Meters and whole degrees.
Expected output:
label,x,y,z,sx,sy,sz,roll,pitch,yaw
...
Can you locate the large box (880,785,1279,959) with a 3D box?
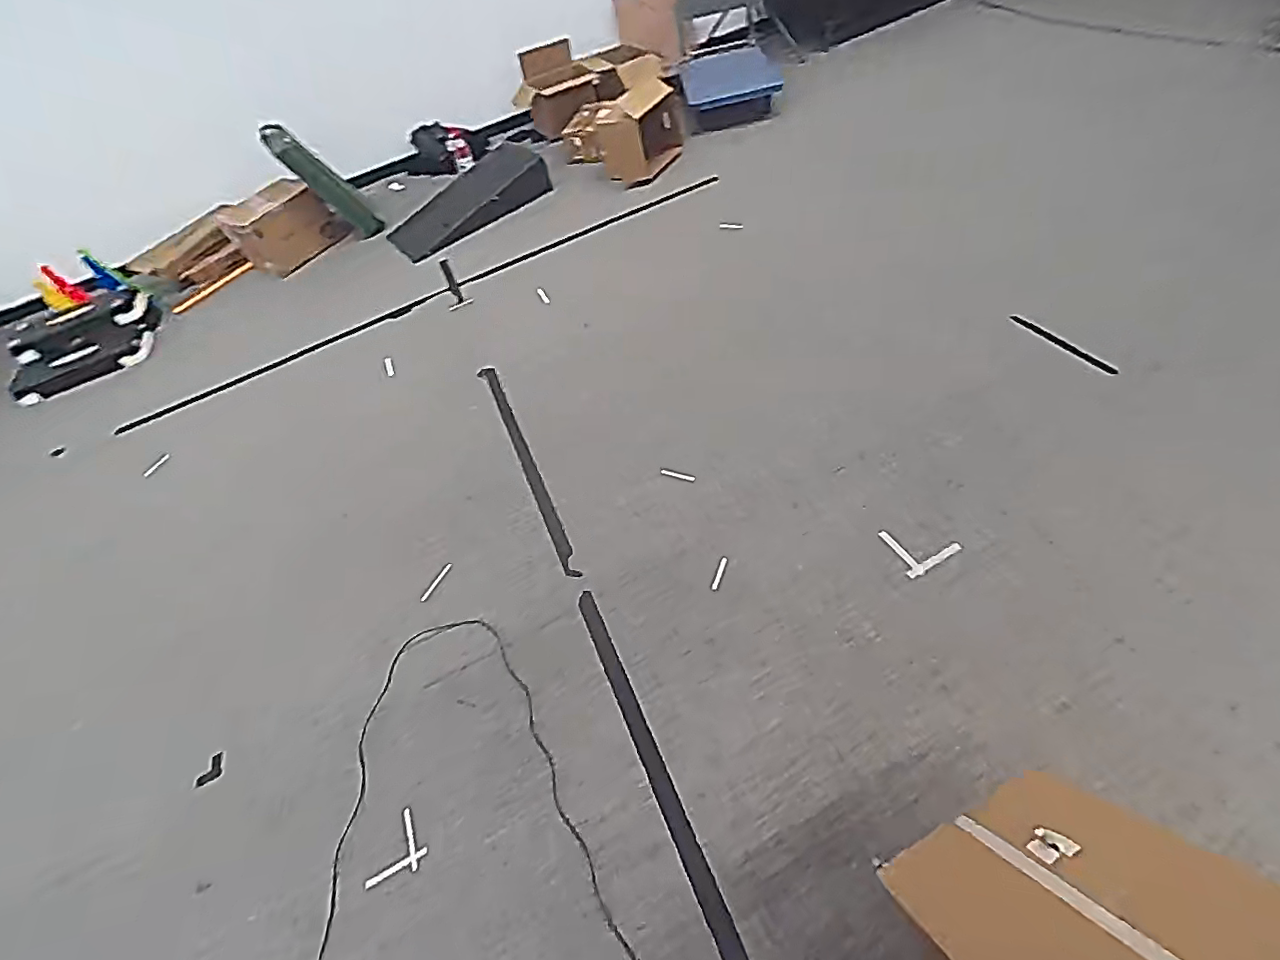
label,x,y,z,sx,sy,sz,roll,pitch,yaw
large box,0.578,0.643,0.623,0.320,0.408,0.320,-24,83,-9
